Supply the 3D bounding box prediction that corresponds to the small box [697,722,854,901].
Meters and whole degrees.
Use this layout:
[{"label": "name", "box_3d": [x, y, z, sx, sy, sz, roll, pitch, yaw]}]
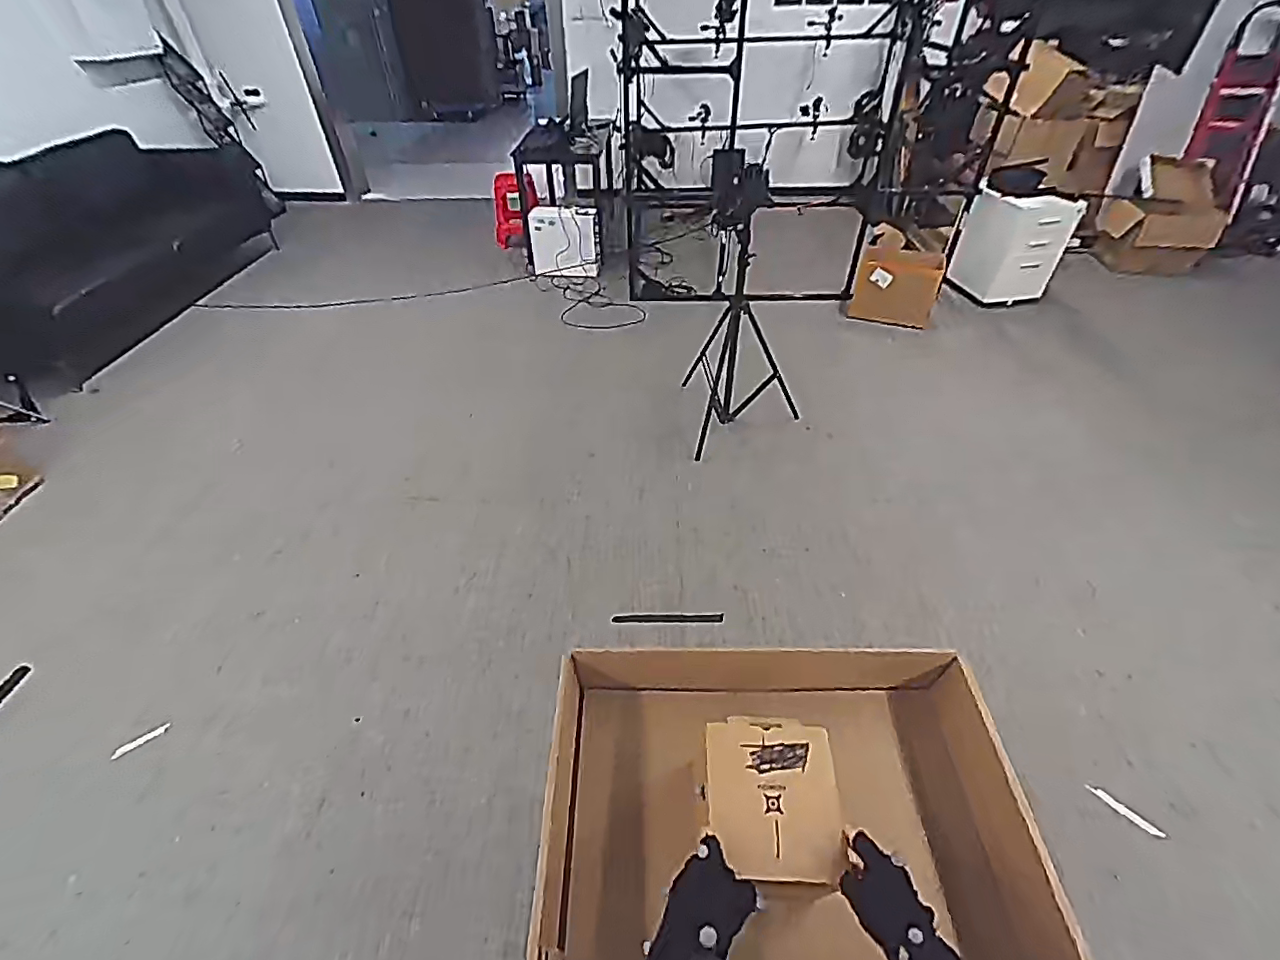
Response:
[{"label": "small box", "box_3d": [0.167, 0.451, 0.734, 0.168, 0.176, 0.179, 1, 48, 2]}]
